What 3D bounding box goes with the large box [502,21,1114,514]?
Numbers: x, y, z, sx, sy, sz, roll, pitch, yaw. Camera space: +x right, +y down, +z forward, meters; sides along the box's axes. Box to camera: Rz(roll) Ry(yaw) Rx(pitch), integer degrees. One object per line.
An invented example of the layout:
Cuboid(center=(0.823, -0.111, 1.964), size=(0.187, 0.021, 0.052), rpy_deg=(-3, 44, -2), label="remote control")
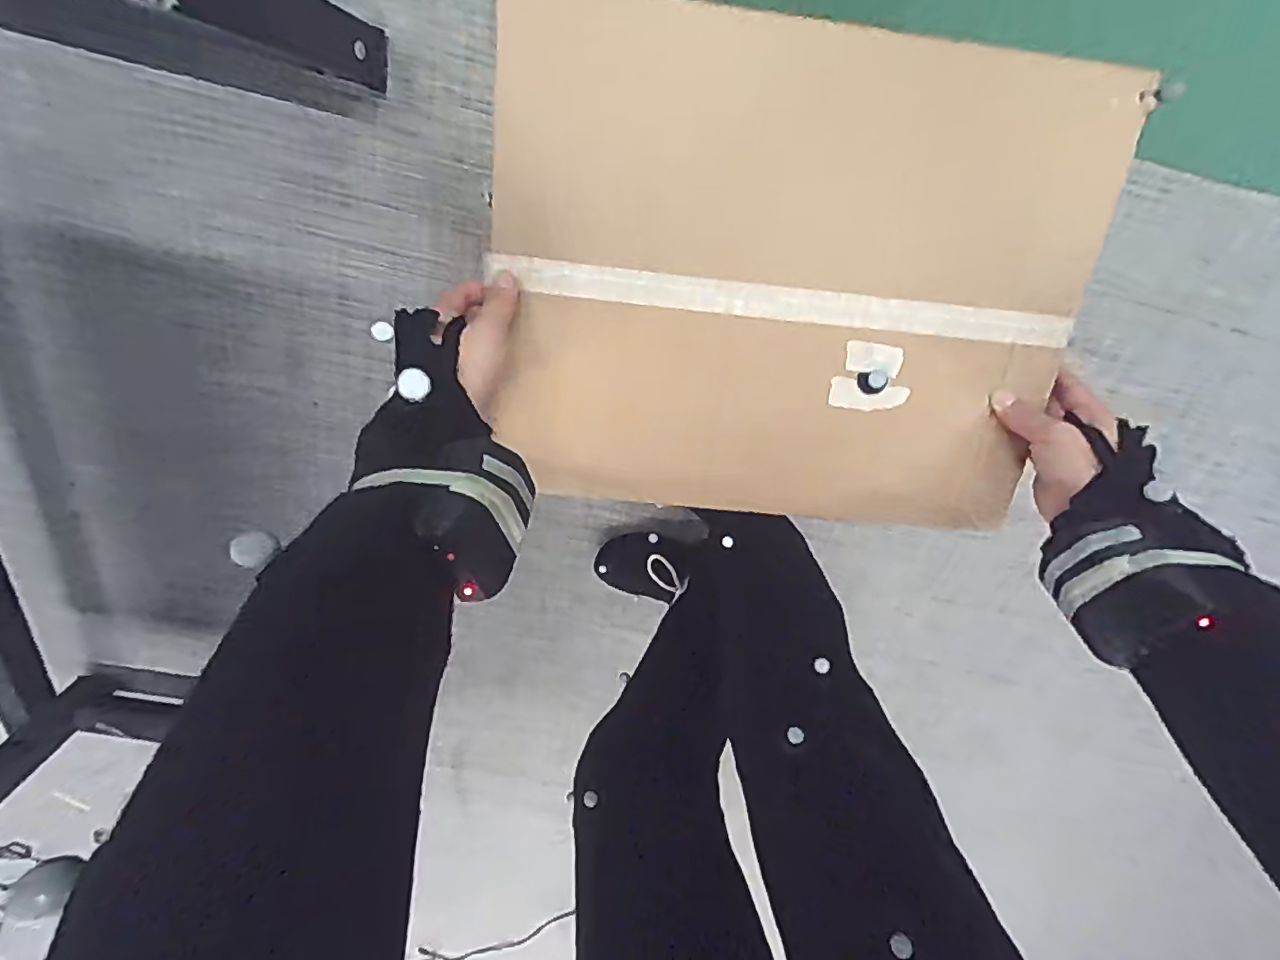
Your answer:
Cuboid(center=(0.096, -0.171, 0.527), size=(0.408, 0.320, 0.320), rpy_deg=(4, 109, -4), label="large box")
